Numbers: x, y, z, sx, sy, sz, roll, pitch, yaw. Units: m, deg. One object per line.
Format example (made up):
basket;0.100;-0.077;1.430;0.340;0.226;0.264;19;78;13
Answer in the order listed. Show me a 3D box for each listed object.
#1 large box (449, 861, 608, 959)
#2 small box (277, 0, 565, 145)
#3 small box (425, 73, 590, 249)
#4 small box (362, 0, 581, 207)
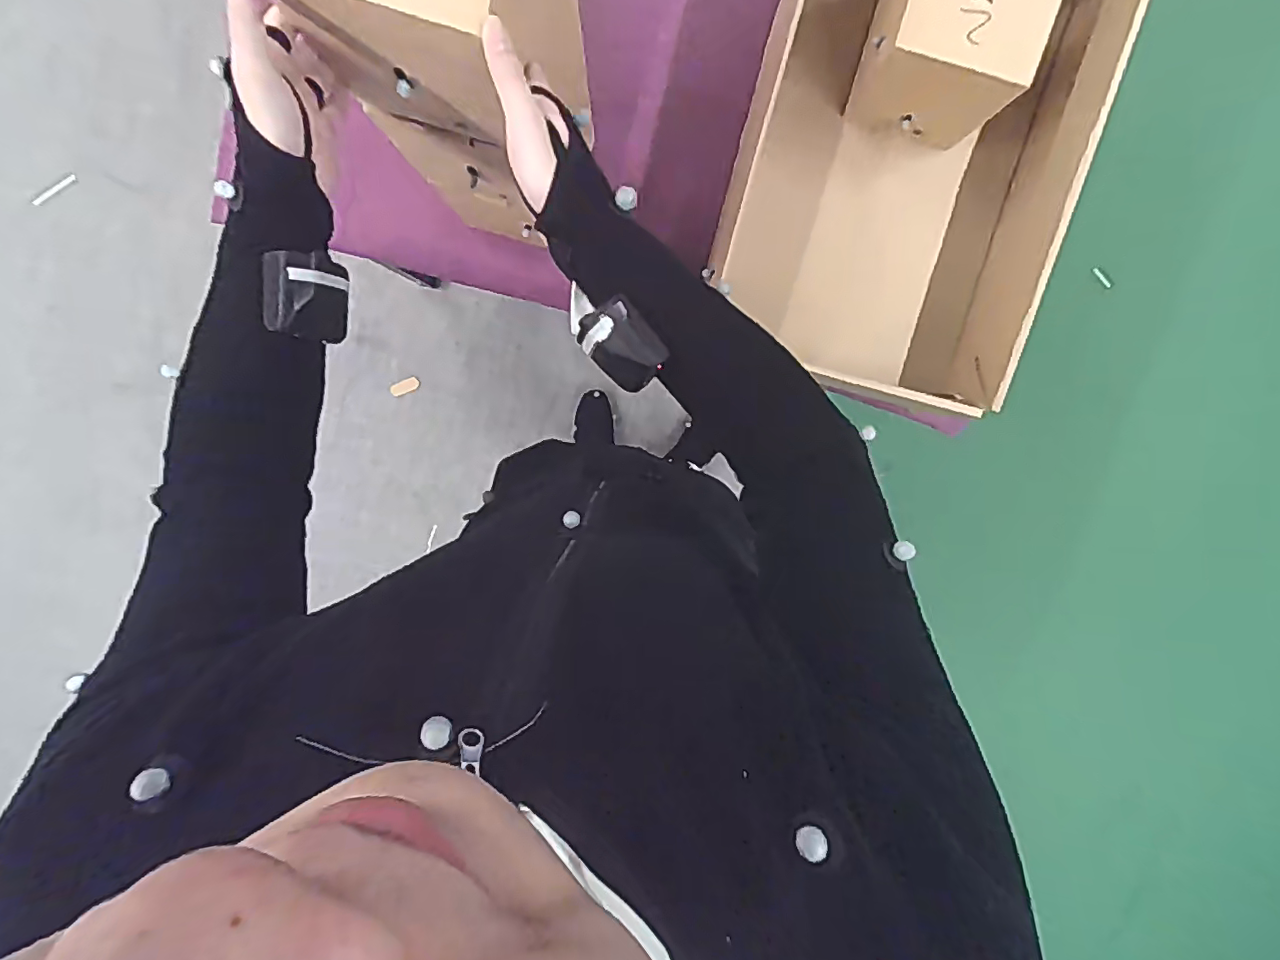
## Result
large box;-0.339;1.501;1.696;0.408;0.320;0.320;-17;99;1
small box;-0.158;-0.401;0.416;0.168;0.176;0.179;16;96;-4
small box;-0.168;-0.442;0.743;0.168;0.176;0.179;15;96;-4
small box;-0.164;-0.424;0.581;0.168;0.176;0.179;14;98;-4
